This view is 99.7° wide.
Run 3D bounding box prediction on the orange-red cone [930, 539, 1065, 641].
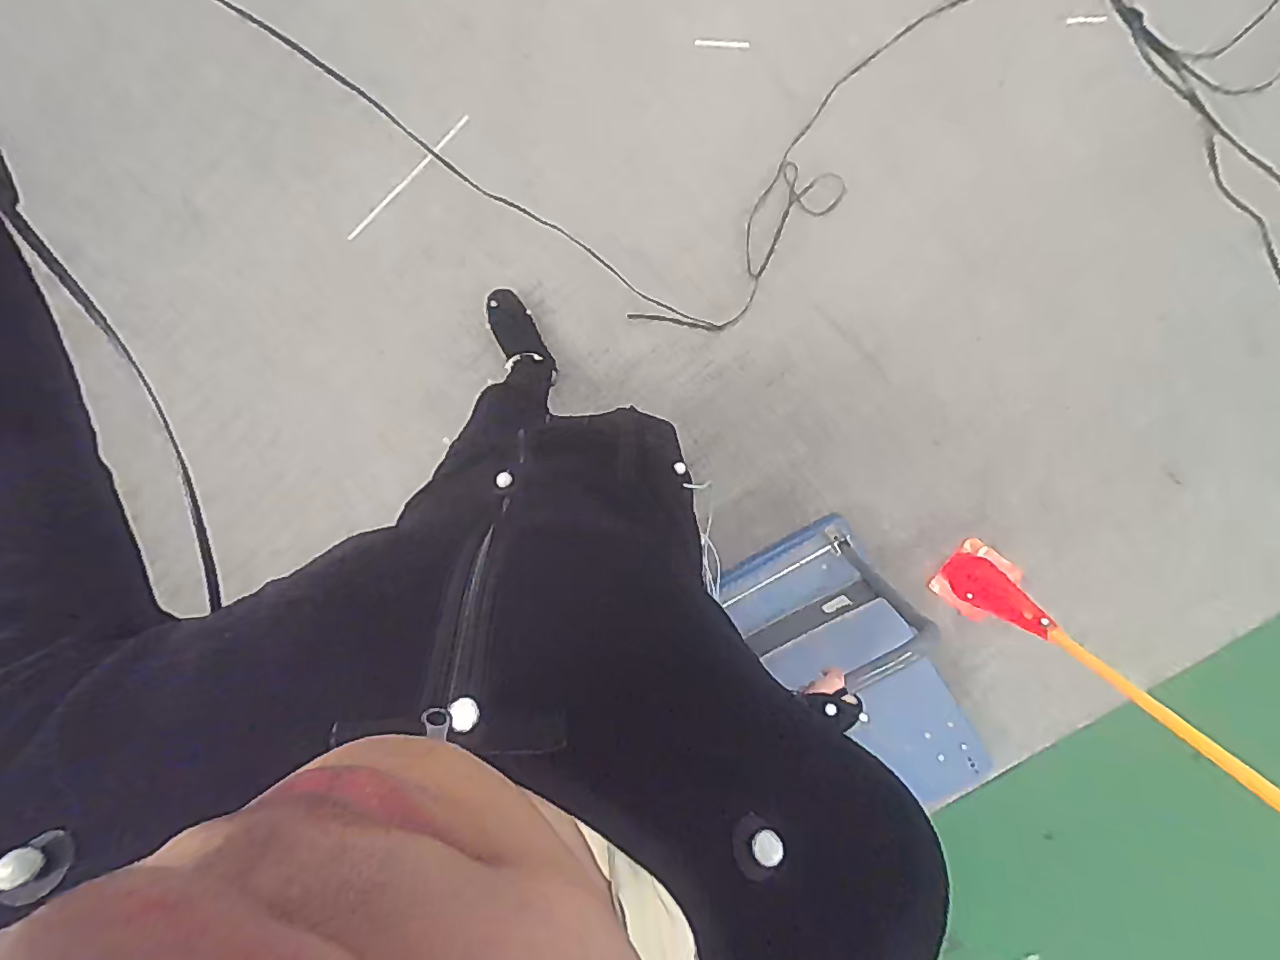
[{"bbox_3d":[0.976,0.324,1.425,0.198,0.360,0.199,37,100,-4],"label":"orange-red cone"}]
